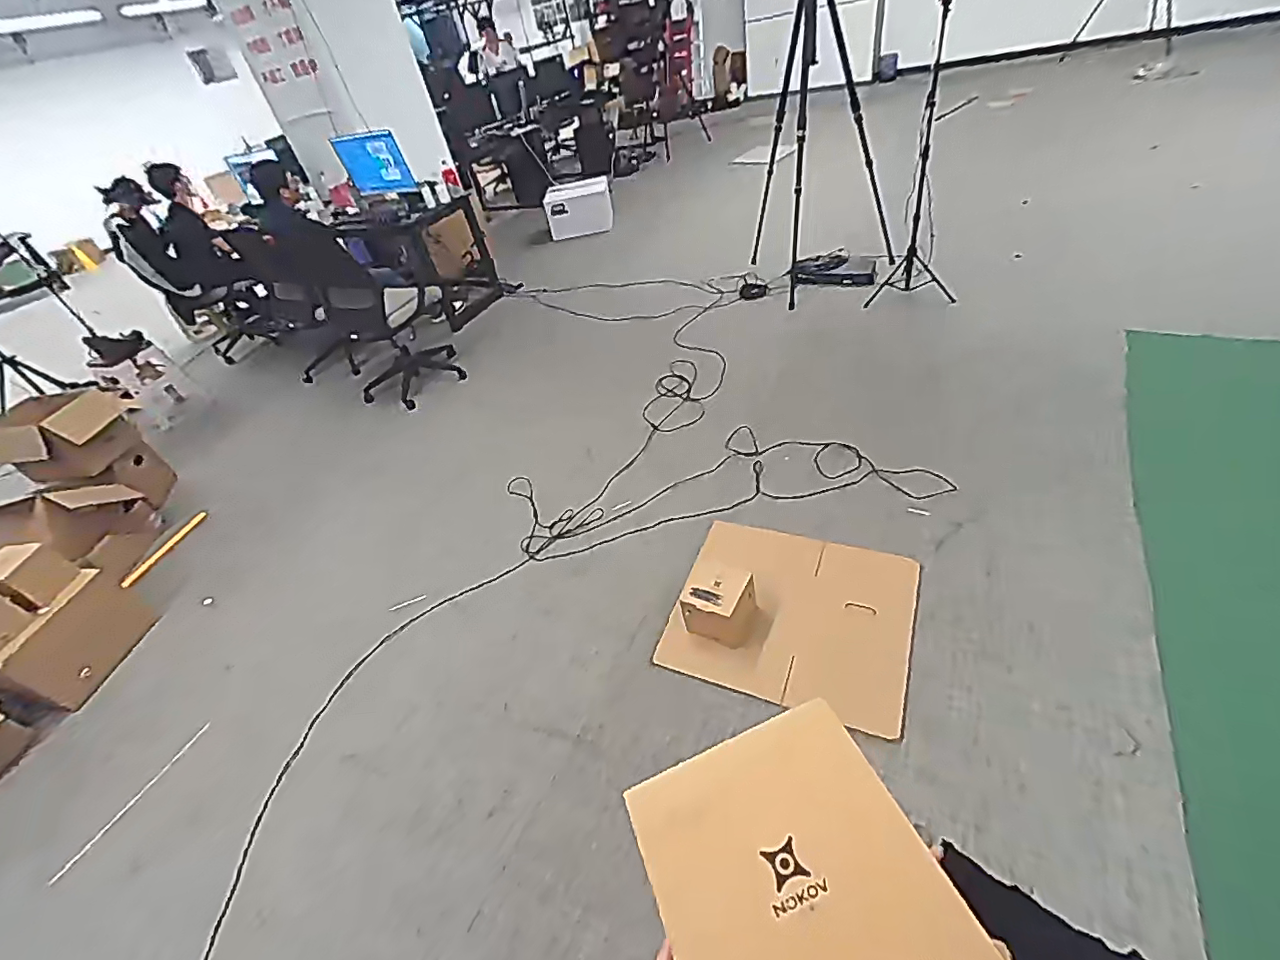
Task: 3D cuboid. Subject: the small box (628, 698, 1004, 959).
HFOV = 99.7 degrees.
[{"bbox_3d":[0.108,0.299,0.382,0.168,0.176,0.179,-23,40,-8],"label":"small box"}]
